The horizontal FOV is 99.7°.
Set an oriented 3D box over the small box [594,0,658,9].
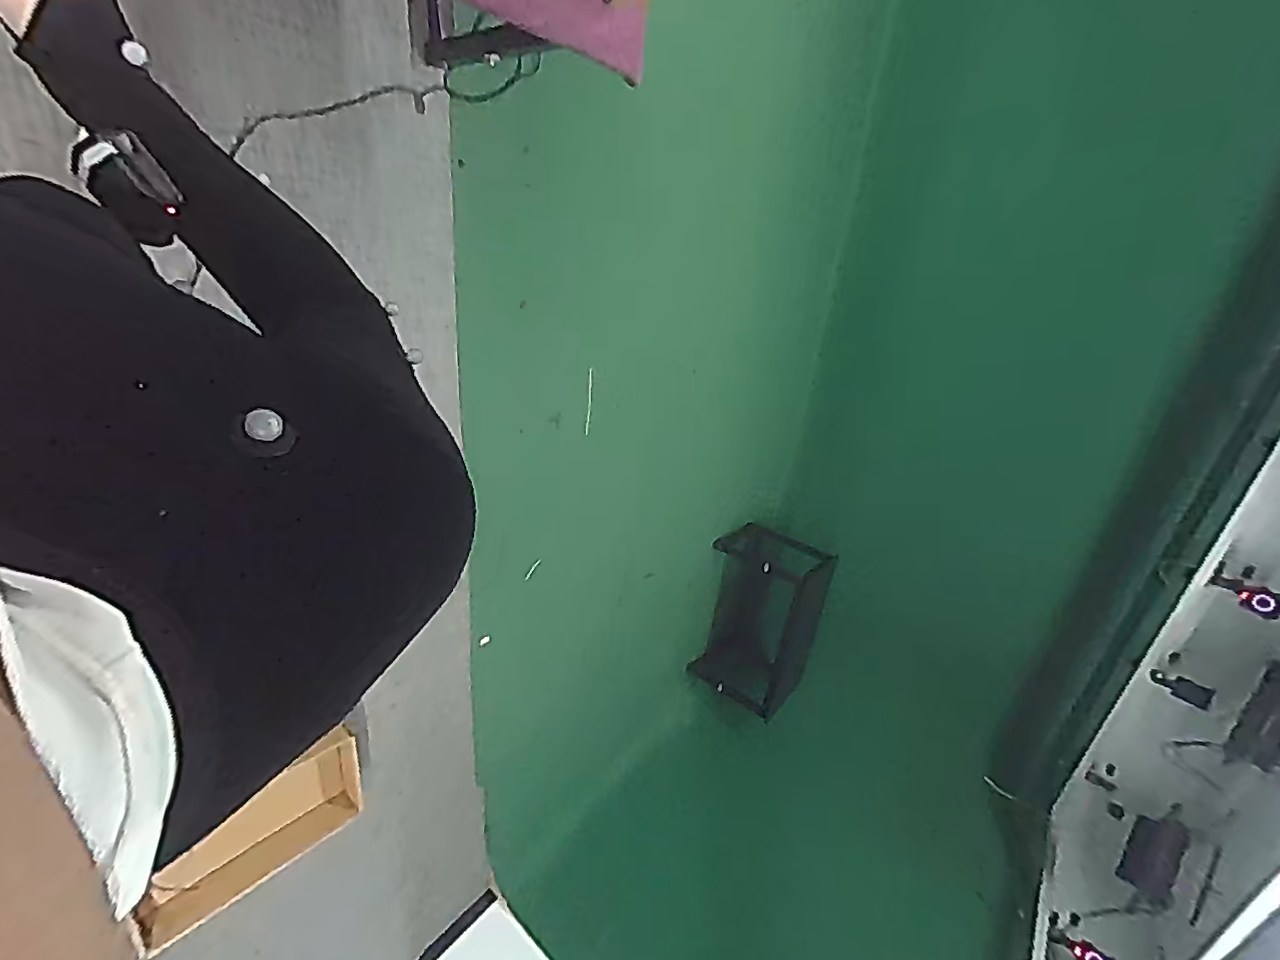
[{"bbox_3d":[-0.032,-0.941,0.908,0.168,0.176,0.179,-20,124,-46],"label":"small box"}]
